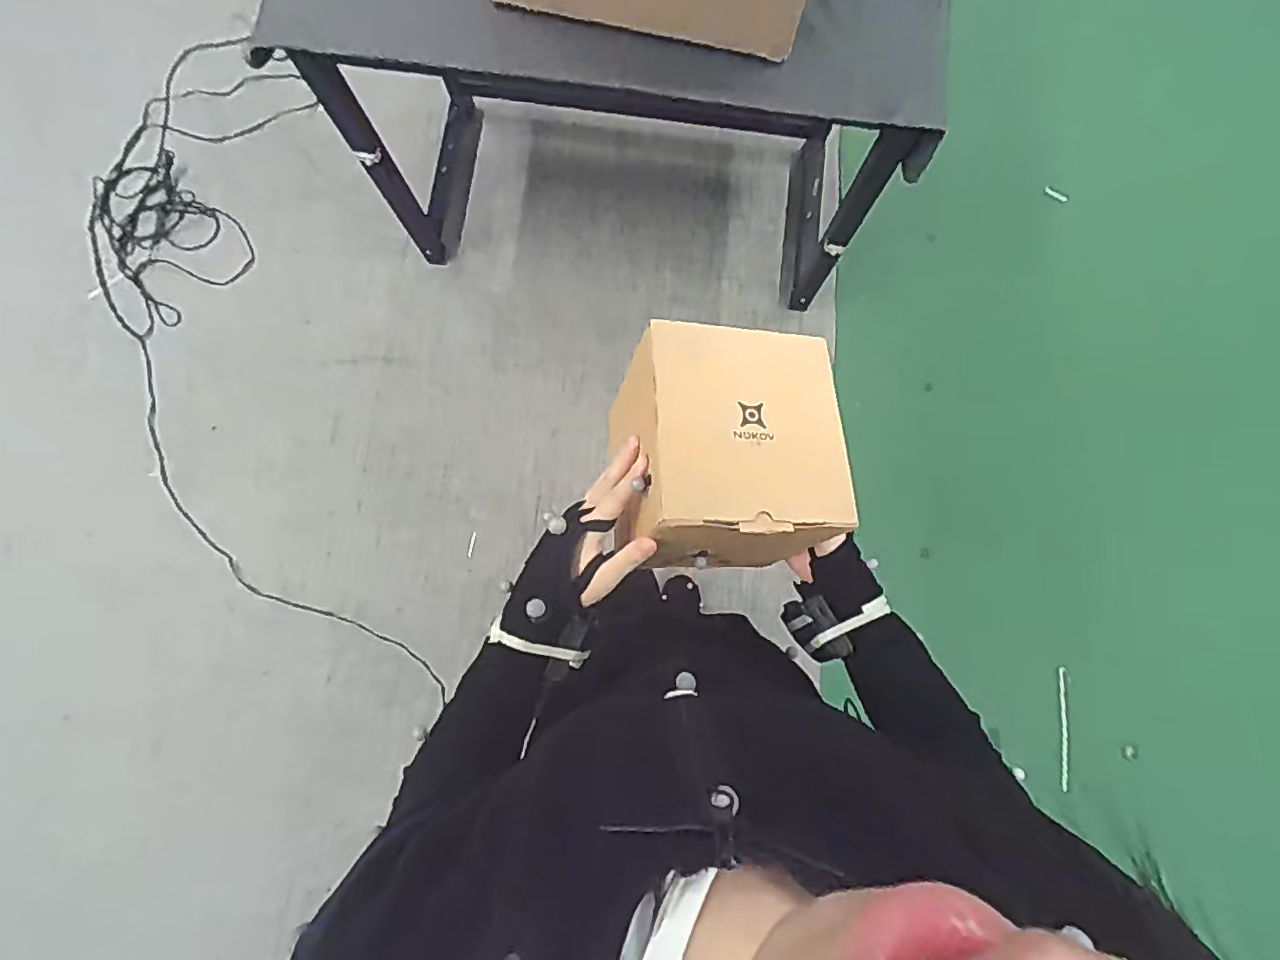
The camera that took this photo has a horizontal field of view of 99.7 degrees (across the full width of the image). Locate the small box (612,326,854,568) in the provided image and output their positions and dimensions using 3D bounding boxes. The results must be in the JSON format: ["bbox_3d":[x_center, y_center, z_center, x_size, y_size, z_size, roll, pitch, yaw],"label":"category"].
[{"bbox_3d":[0.070,-0.018,0.516,0.168,0.176,0.179,2,71,-15],"label":"small box"}]
